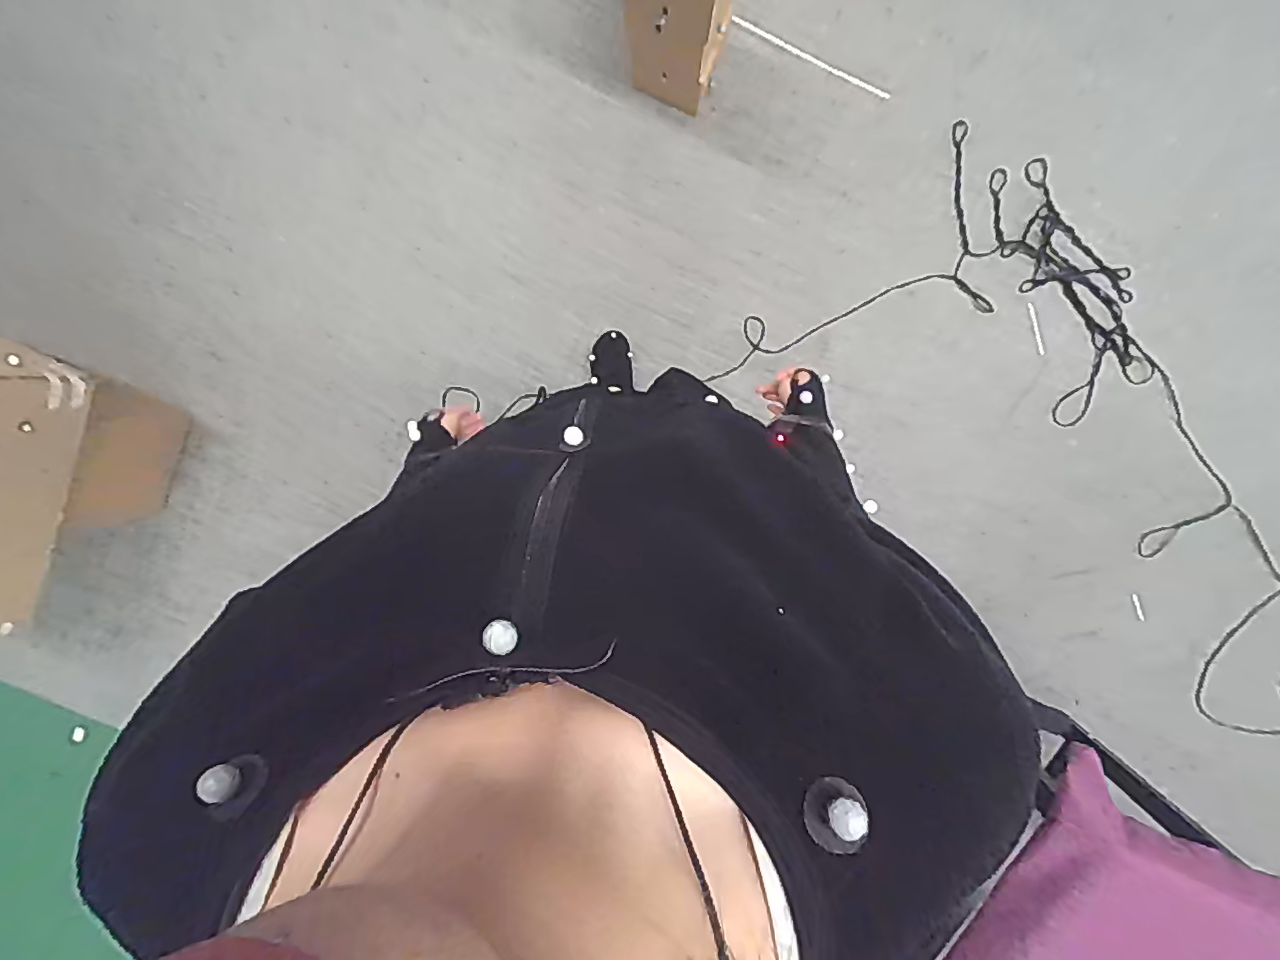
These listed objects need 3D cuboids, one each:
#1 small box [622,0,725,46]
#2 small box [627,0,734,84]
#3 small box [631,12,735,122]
[{"bbox_3d":[0.074,-0.887,0.911,0.179,0.176,0.168,21,101,-3],"label":"small box"},{"bbox_3d":[0.080,-0.934,1.068,0.179,0.176,0.168,24,102,-3],"label":"small box"},{"bbox_3d":[0.093,-0.961,1.230,0.179,0.176,0.168,23,101,-4],"label":"small box"}]
